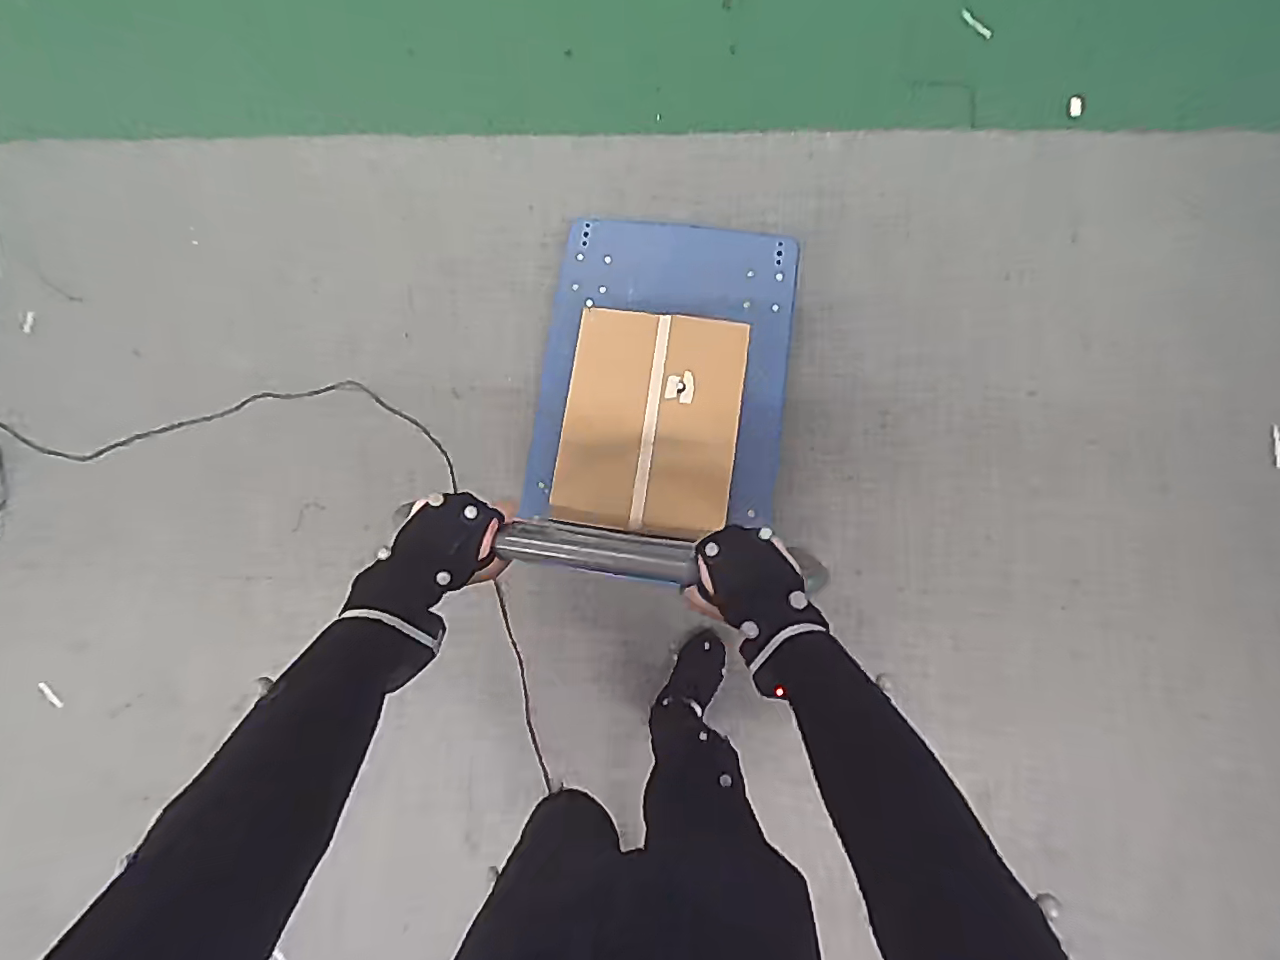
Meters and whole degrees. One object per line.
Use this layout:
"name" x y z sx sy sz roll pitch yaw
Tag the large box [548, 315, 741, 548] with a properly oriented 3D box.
"large box" 0.022 -0.077 1.122 0.320 0.320 0.408 8 82 5
